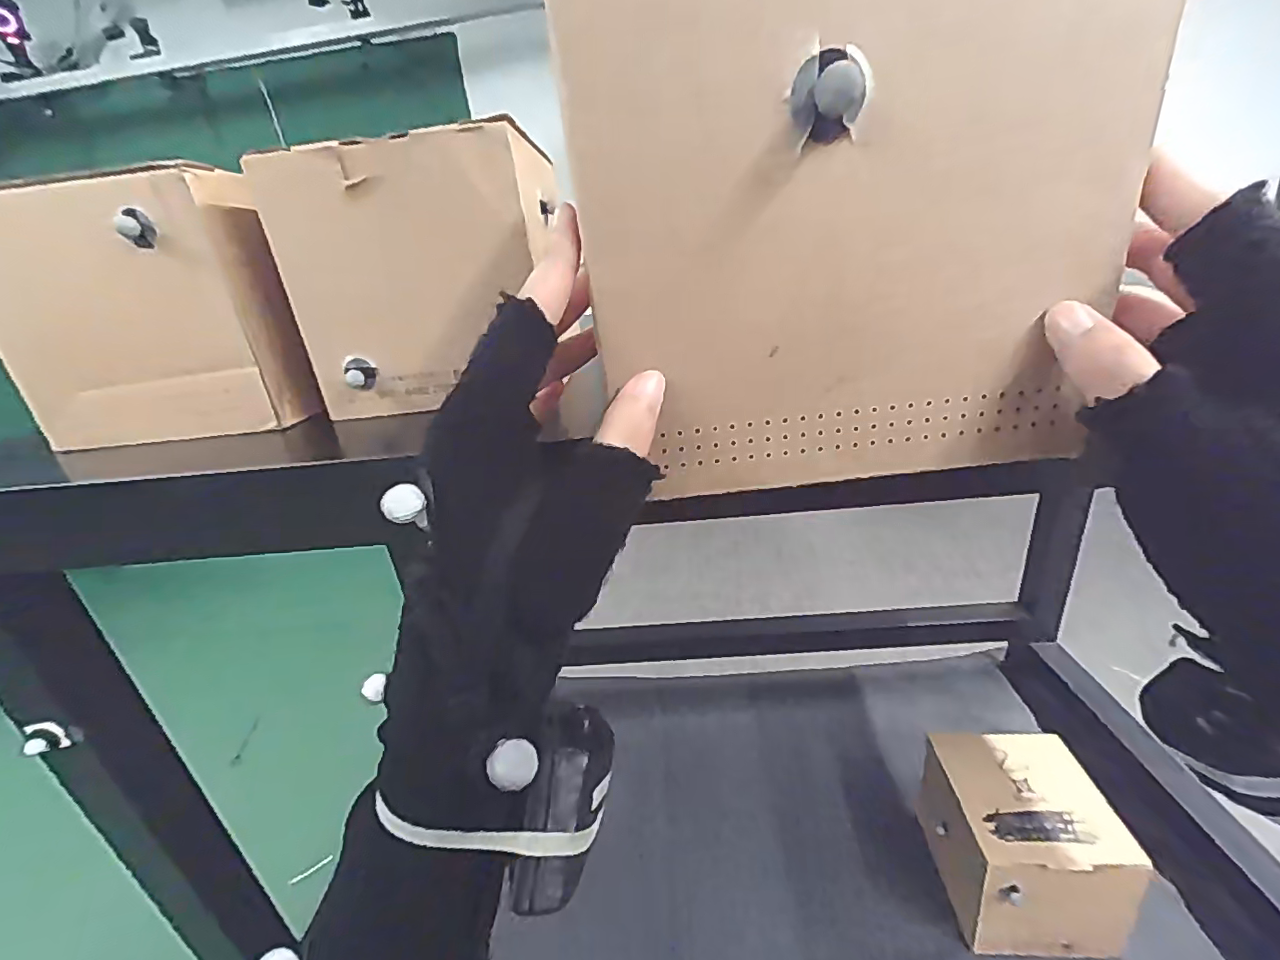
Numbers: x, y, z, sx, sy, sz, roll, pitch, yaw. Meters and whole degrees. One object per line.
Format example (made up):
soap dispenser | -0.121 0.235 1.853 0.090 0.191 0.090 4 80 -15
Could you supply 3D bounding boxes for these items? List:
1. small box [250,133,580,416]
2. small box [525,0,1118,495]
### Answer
small box | -0.147 -0.152 0.431 0.168 0.176 0.179 -5 22 3
small box | 0.064 -0.101 0.251 0.179 0.176 0.168 -6 24 3
